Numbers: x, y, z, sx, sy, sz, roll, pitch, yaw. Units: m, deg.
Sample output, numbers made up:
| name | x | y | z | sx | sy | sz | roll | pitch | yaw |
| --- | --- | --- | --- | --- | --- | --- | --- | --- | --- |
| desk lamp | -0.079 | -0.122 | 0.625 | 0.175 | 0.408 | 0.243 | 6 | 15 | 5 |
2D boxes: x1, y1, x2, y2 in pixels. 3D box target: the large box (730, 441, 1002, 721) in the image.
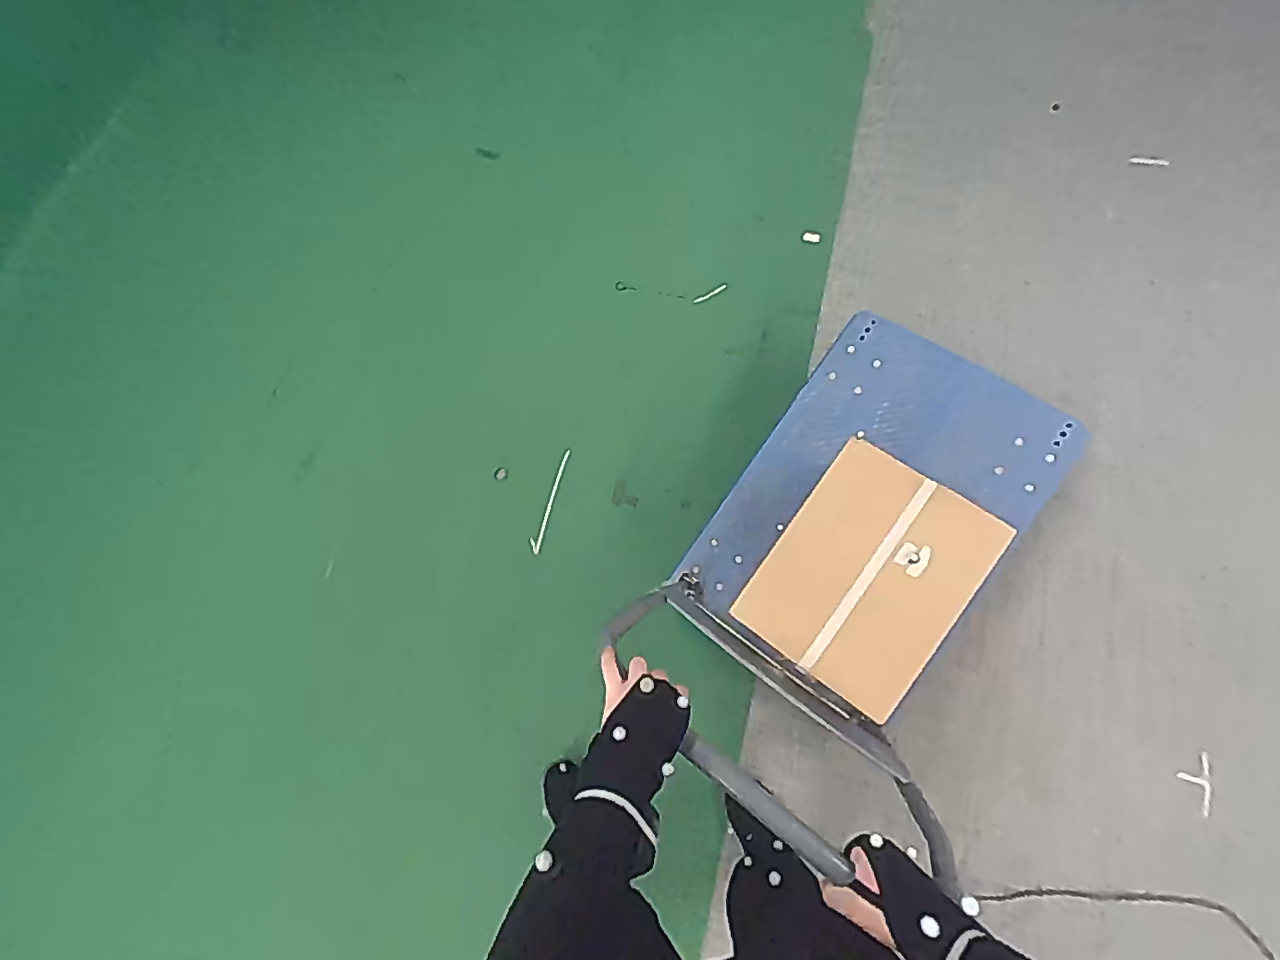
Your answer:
| name | x | y | z | sx | sy | sz | roll | pitch | yaw |
| --- | --- | --- | --- | --- | --- | --- | --- | --- | --- |
| large box | 0.423 | 0.198 | 1.104 | 0.320 | 0.320 | 0.408 | 35 | 87 | 15 |
